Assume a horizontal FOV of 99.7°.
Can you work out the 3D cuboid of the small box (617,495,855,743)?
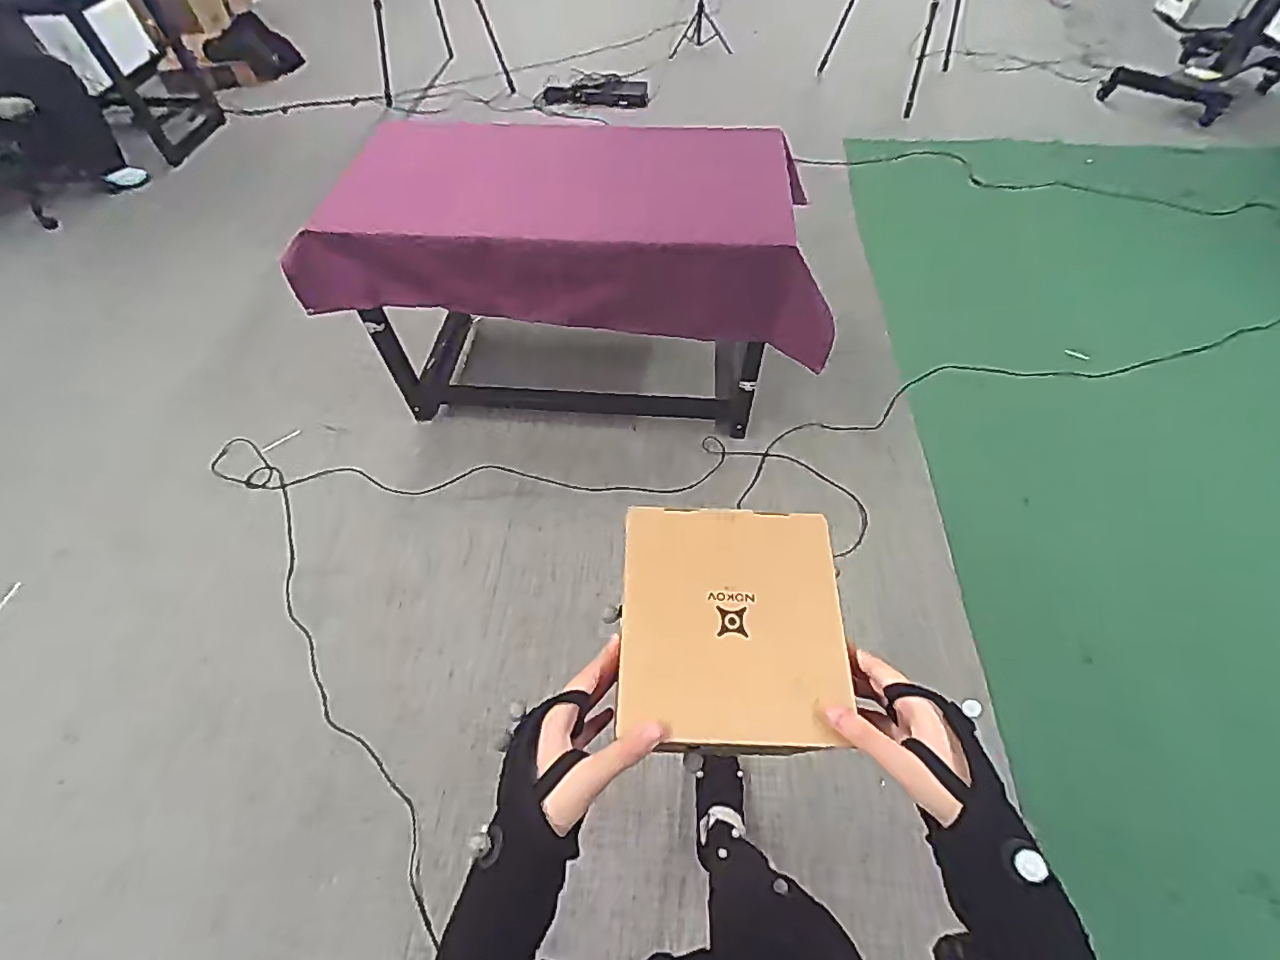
[{"bbox_3d":[0.067,0.130,0.477,0.168,0.176,0.179,2,59,-1],"label":"small box"}]
